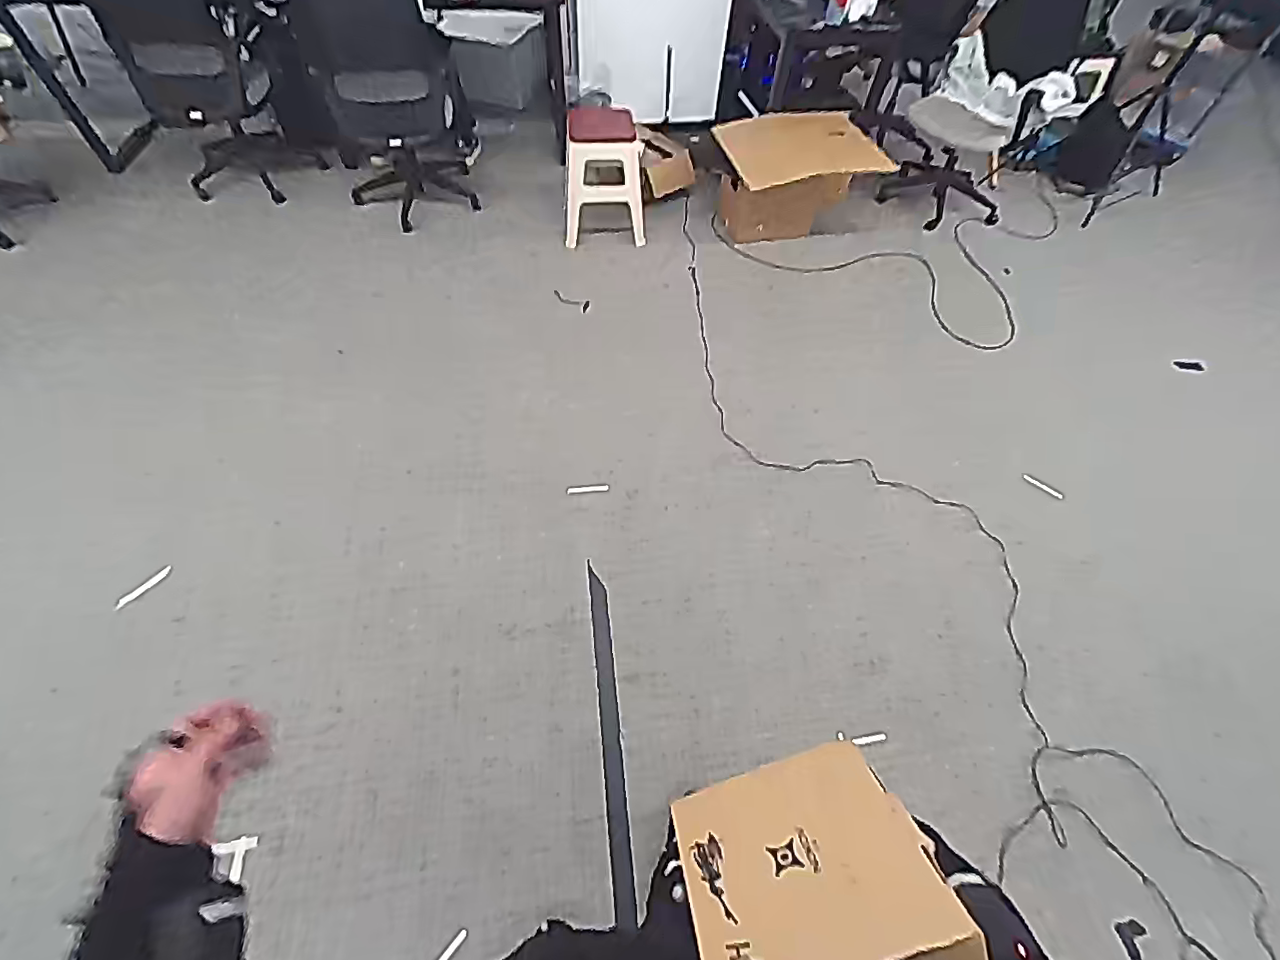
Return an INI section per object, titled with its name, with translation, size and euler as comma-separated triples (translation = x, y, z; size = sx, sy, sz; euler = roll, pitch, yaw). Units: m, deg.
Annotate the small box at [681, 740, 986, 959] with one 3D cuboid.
[small box]
translation = 0.150, 0.360, 0.442
size = 0.179, 0.176, 0.168
euler = -19, 17, -1
